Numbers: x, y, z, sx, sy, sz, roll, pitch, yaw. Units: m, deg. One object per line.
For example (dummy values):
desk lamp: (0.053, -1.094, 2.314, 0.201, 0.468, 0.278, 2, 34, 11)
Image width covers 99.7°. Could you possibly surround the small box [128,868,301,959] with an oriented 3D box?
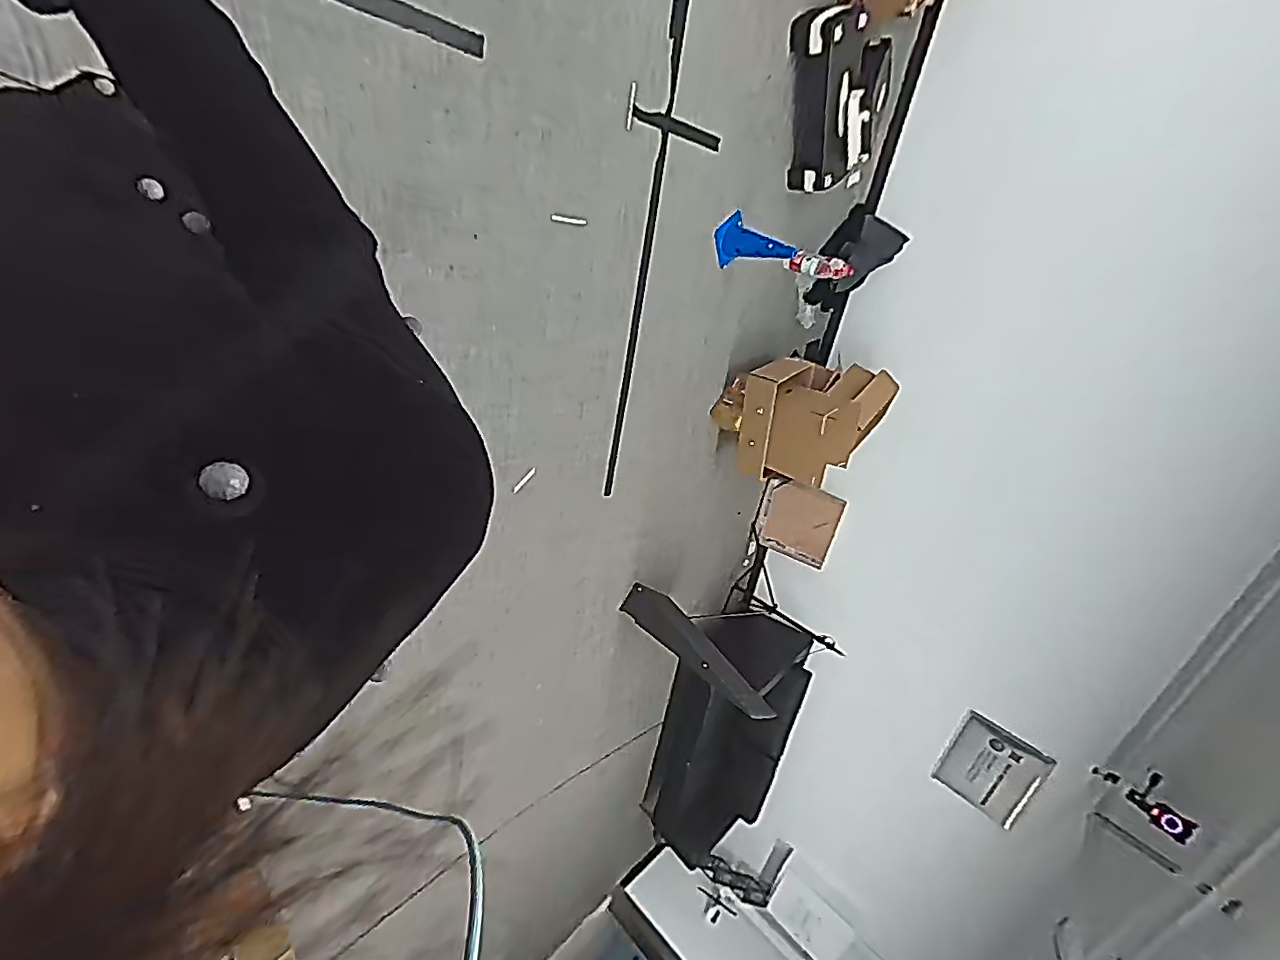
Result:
small box: (-0.649, 0.761, 0.835, 0.179, 0.176, 0.168, -14, 124, -46)
